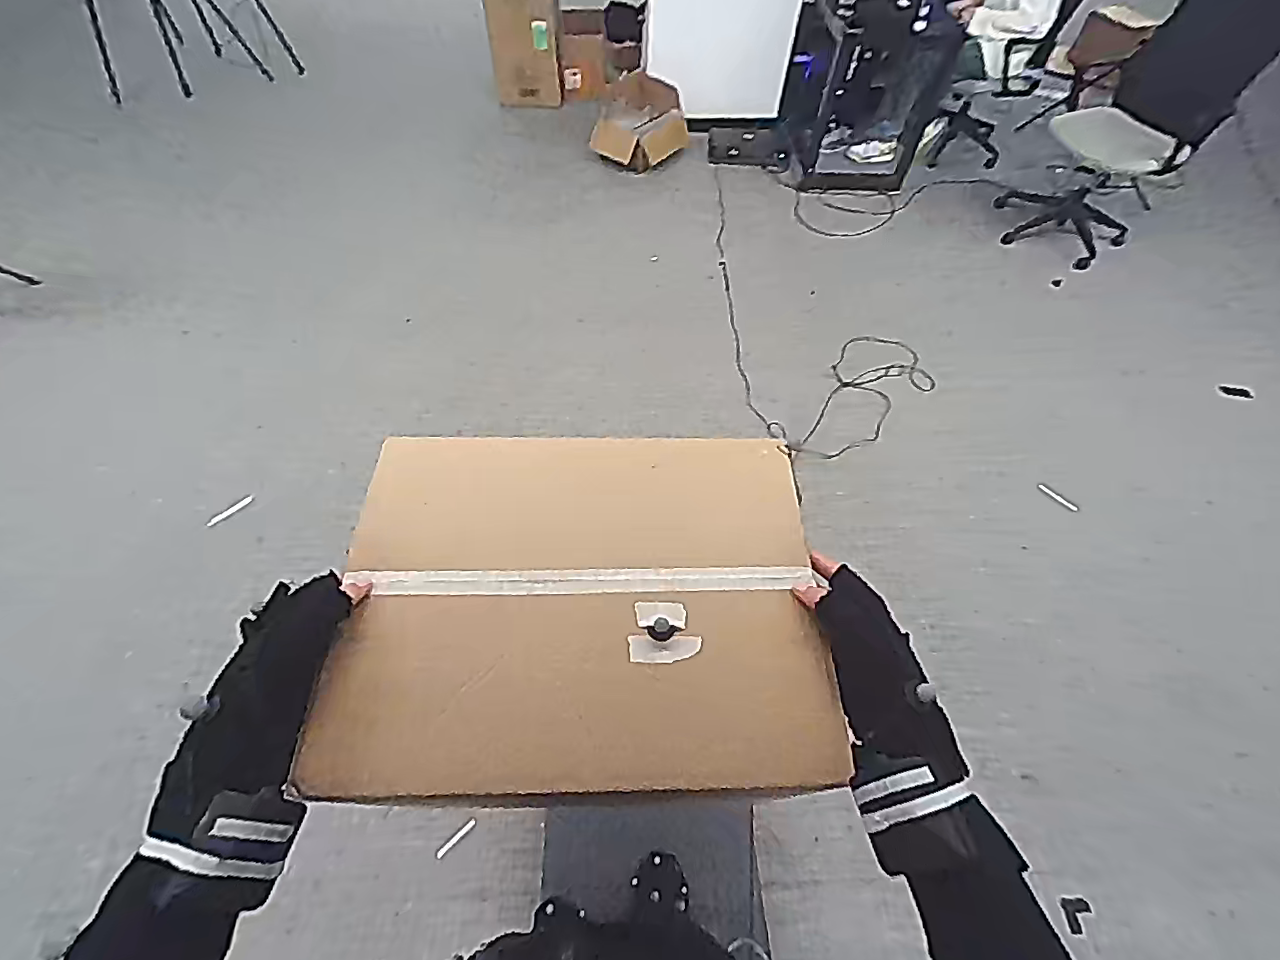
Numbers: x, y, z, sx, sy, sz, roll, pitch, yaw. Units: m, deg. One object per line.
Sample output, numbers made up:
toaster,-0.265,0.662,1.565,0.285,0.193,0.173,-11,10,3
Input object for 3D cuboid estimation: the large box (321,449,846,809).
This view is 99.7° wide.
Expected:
large box,-0.048,0.178,0.609,0.408,0.320,0.320,1,57,-2
